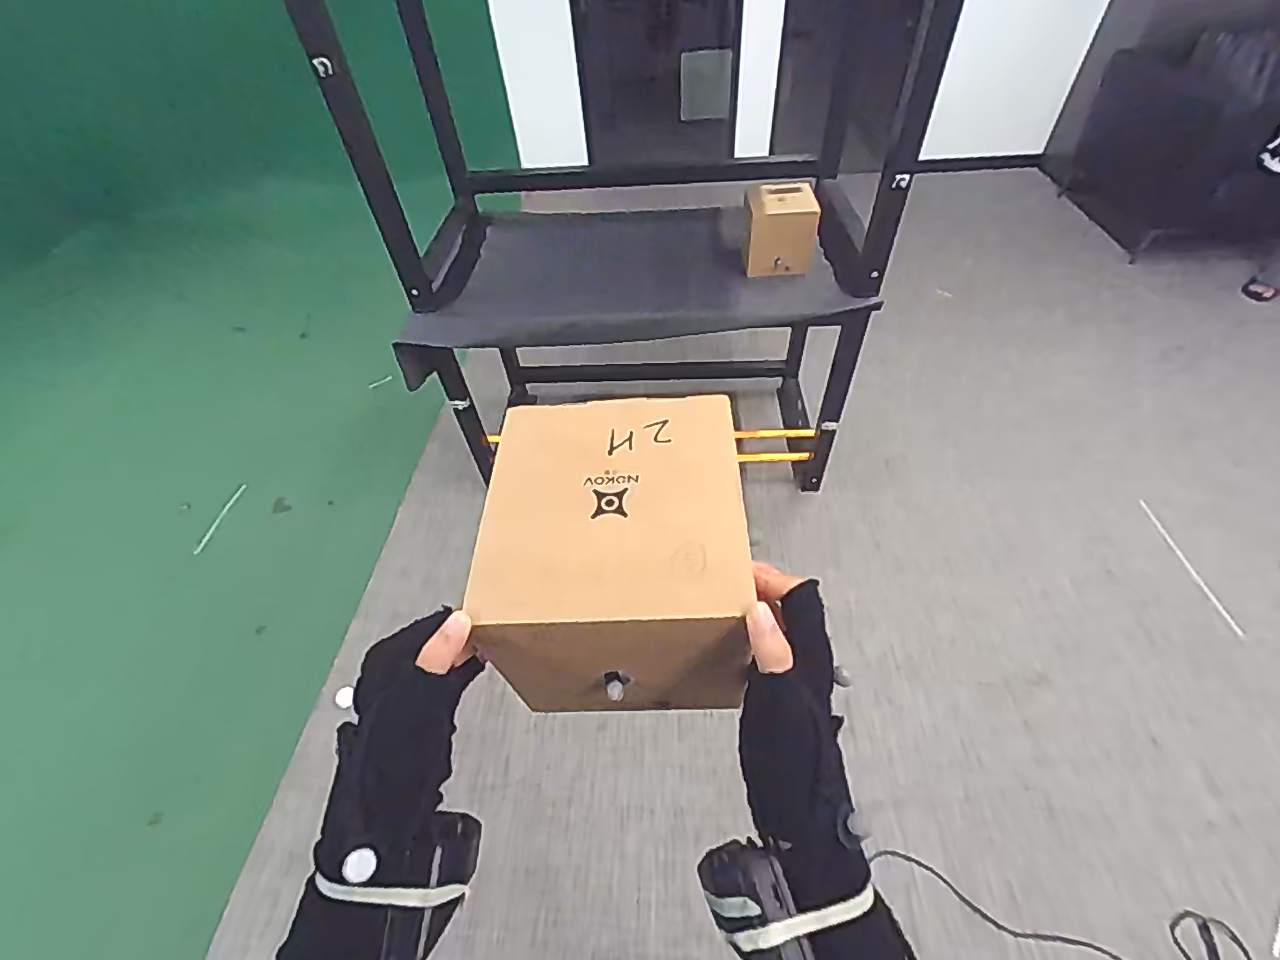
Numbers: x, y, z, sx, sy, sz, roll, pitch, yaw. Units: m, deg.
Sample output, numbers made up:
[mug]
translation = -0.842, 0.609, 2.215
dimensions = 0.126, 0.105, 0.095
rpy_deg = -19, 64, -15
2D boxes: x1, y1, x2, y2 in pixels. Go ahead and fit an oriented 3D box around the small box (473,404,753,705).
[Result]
[small box]
translation = -0.009, 0.065, 0.418
dimensions = 0.168, 0.176, 0.179
rpy_deg = -3, 51, 3
